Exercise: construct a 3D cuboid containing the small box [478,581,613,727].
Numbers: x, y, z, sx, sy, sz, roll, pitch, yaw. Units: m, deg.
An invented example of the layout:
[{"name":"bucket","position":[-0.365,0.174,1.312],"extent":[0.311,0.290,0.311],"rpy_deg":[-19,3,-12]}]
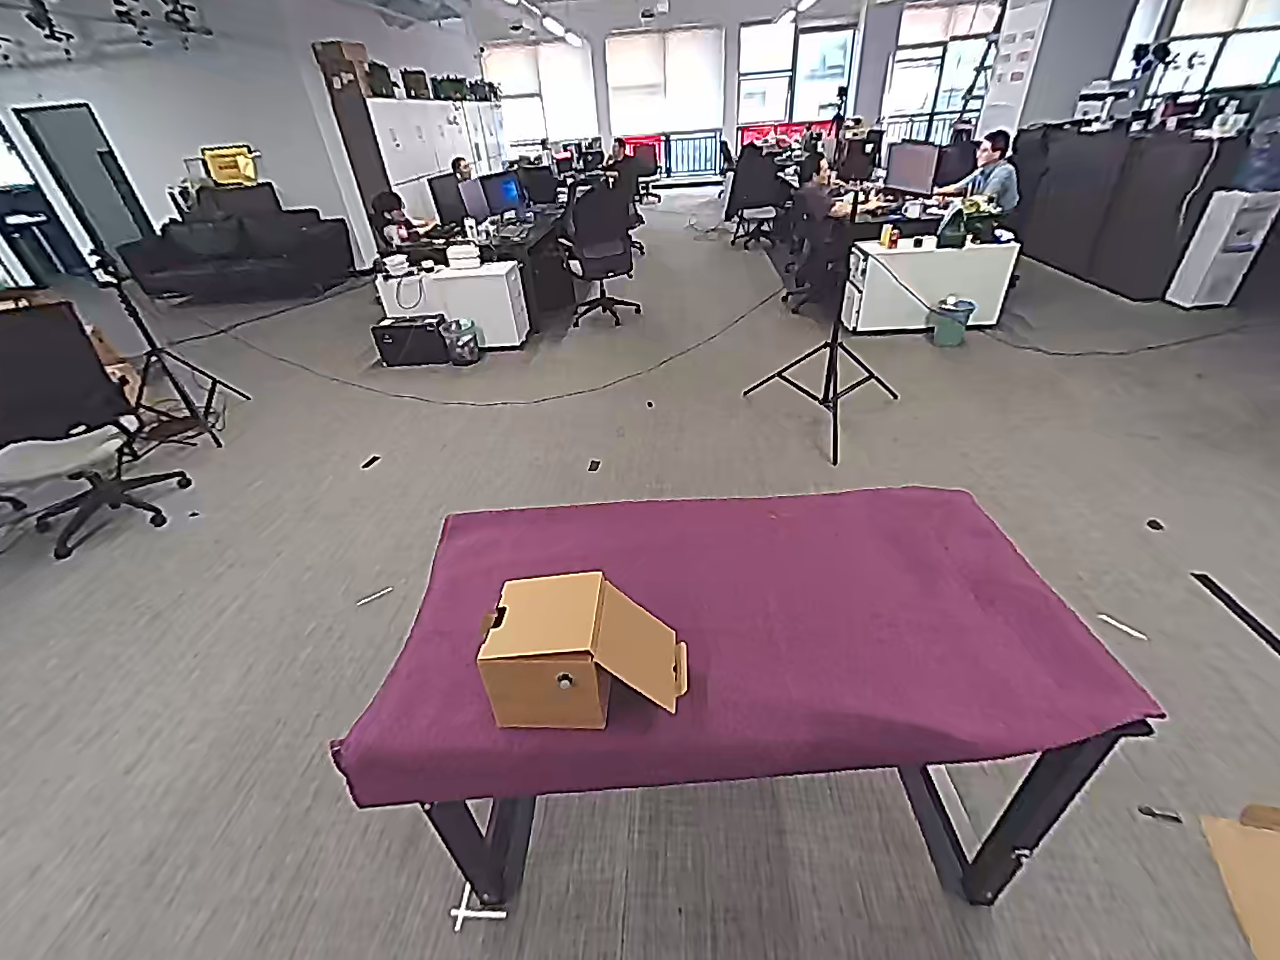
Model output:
[{"name":"small box","position":[-0.142,0.285,0.892],"extent":[0.179,0.176,0.168],"rpy_deg":[-2,32,5]}]
